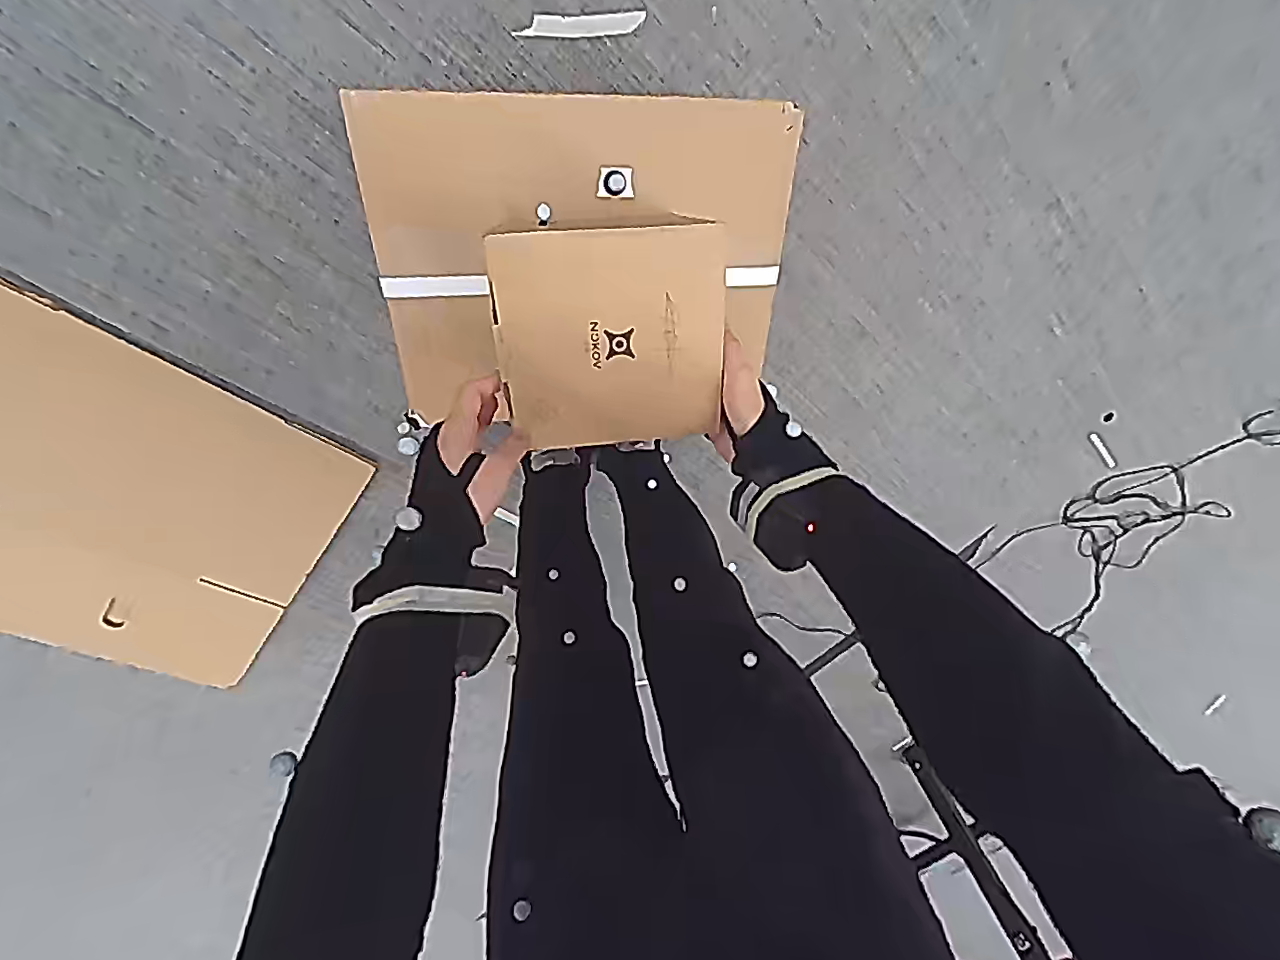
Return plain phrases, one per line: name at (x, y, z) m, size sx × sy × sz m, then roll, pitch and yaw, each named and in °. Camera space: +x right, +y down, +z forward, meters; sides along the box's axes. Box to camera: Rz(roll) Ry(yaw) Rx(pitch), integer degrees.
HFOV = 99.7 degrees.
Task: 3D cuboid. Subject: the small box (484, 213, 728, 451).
small box at (-0.032, -0.142, 0.488) m, size 0.179 × 0.176 × 0.168 m, roll -7°, pitch 120°, yaw -7°
